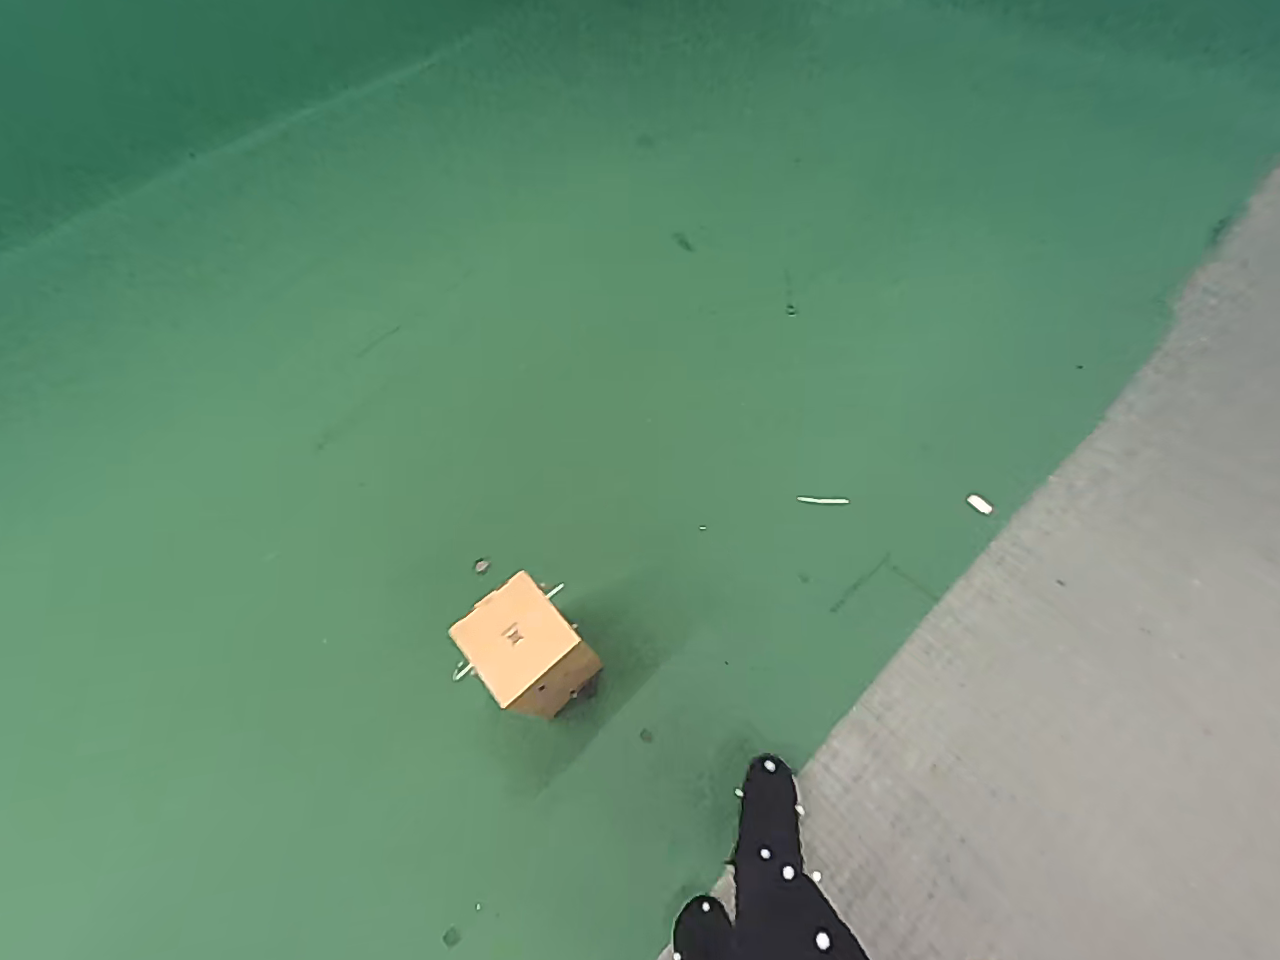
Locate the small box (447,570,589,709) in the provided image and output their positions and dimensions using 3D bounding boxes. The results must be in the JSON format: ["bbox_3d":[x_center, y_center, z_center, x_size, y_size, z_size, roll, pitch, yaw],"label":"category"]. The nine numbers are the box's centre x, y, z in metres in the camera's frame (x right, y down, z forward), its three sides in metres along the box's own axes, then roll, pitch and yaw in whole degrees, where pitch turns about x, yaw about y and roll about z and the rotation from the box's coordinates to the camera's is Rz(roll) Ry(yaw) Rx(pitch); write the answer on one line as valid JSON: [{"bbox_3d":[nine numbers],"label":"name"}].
[{"bbox_3d":[-0.214,0.300,1.000,0.168,0.176,0.179,-40,66,-15],"label":"small box"}]
